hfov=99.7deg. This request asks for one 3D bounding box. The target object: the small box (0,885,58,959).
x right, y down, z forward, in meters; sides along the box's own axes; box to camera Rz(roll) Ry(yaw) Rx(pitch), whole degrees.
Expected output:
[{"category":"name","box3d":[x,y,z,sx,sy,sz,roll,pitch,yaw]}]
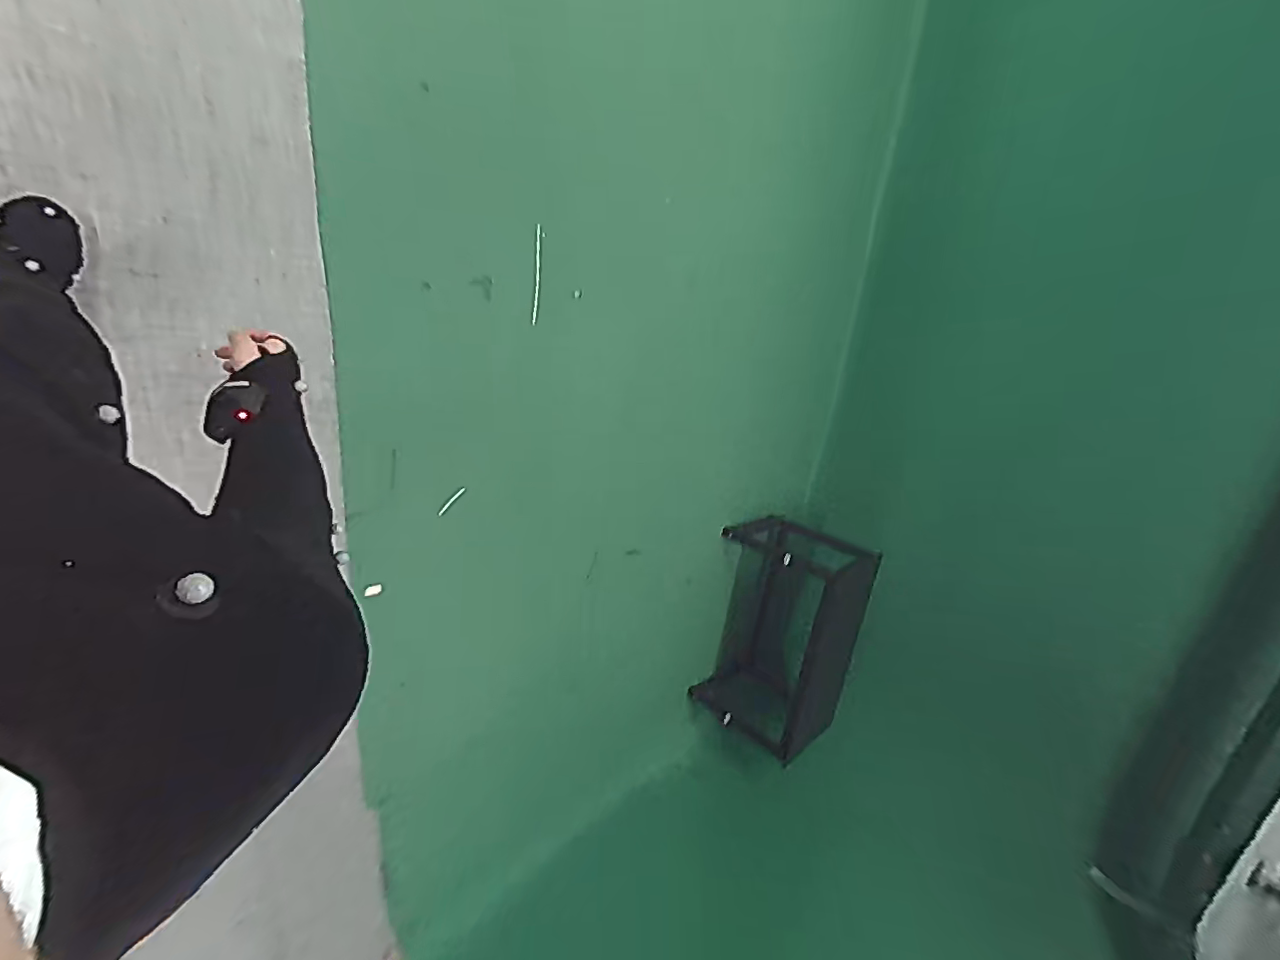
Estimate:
[{"category":"small box","box3d":[-0.978,0.747,0.792,0.168,0.176,0.179,-5,111,-46]}]
